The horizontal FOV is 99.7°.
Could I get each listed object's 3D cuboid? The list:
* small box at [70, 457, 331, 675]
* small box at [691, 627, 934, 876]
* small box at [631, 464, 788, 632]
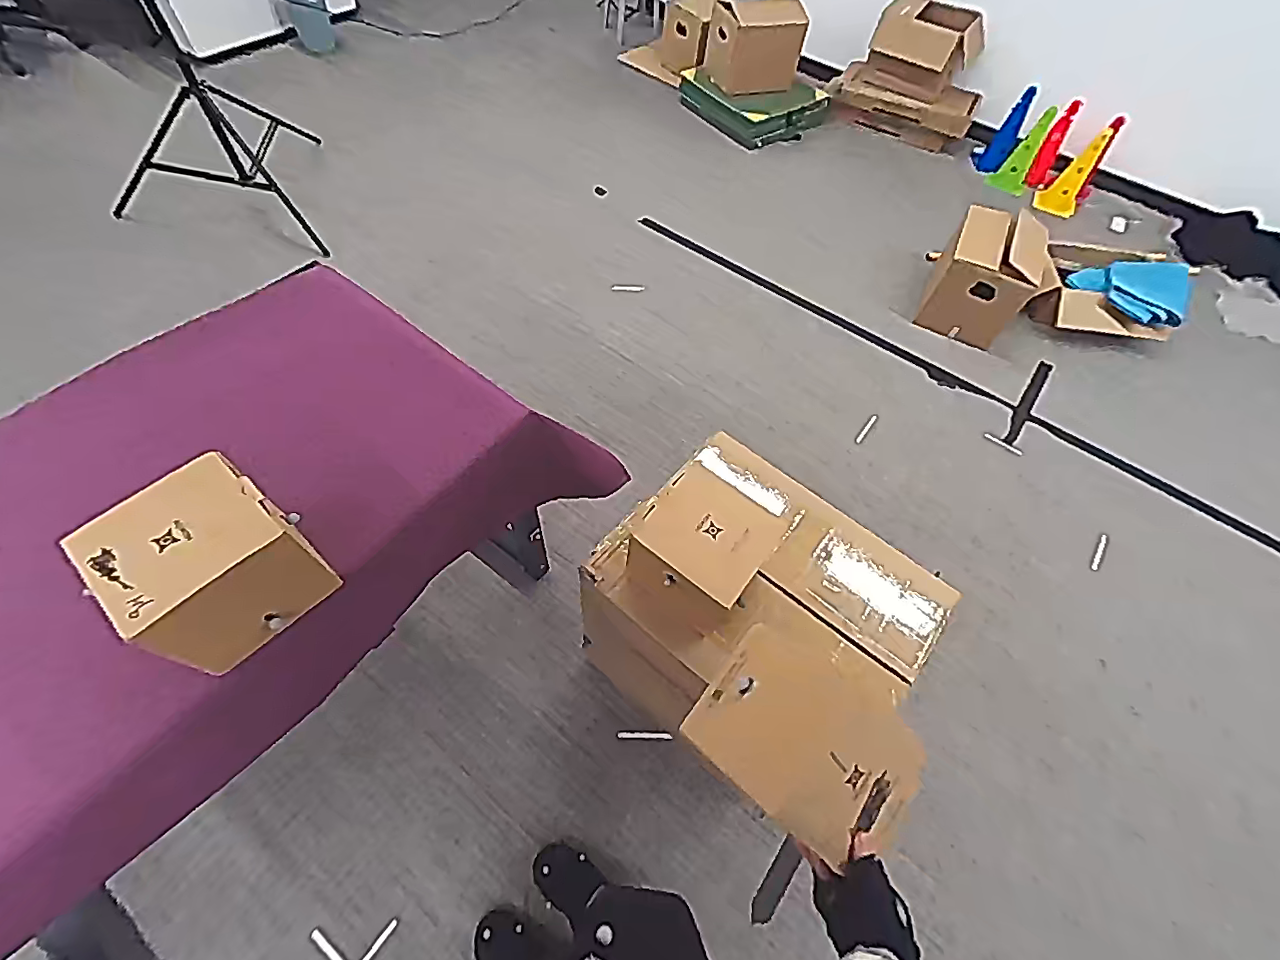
[{"bbox_3d":[-0.526,0.111,0.681,0.168,0.176,0.179,38,62,19],"label":"small box"},{"bbox_3d":[0.196,0.301,0.635,0.168,0.176,0.179,-49,114,-14],"label":"small box"},{"bbox_3d":[0.098,0.114,0.853,0.179,0.176,0.168,35,64,15],"label":"small box"}]
